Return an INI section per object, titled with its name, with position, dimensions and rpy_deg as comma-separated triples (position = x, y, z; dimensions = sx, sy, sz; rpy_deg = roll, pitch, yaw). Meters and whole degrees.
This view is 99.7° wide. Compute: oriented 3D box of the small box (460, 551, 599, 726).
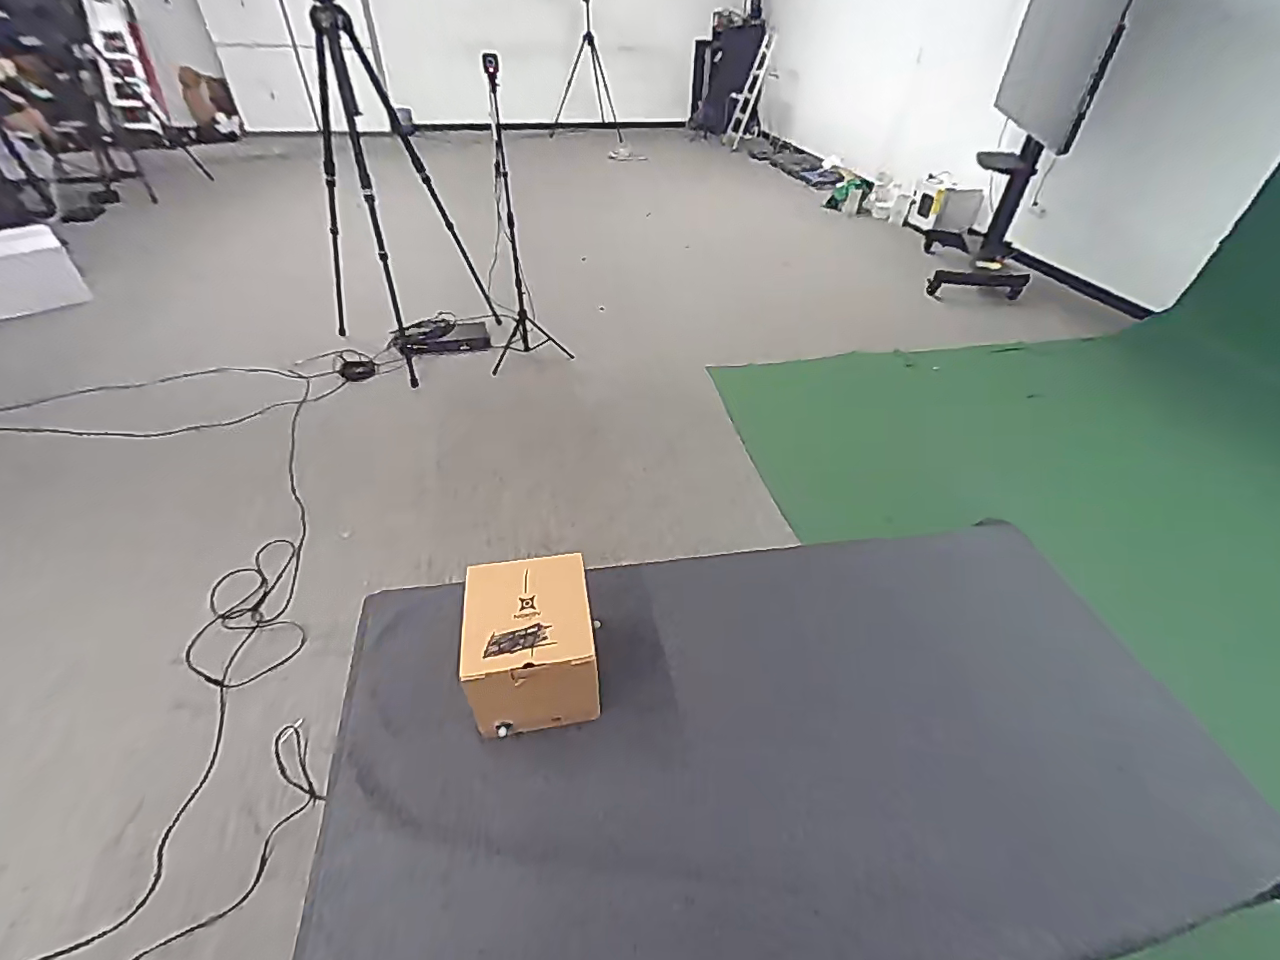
[small box]
position = -0.151, 0.229, 0.770
dimensions = 0.168, 0.176, 0.179
rpy_deg = -6, 42, -9
